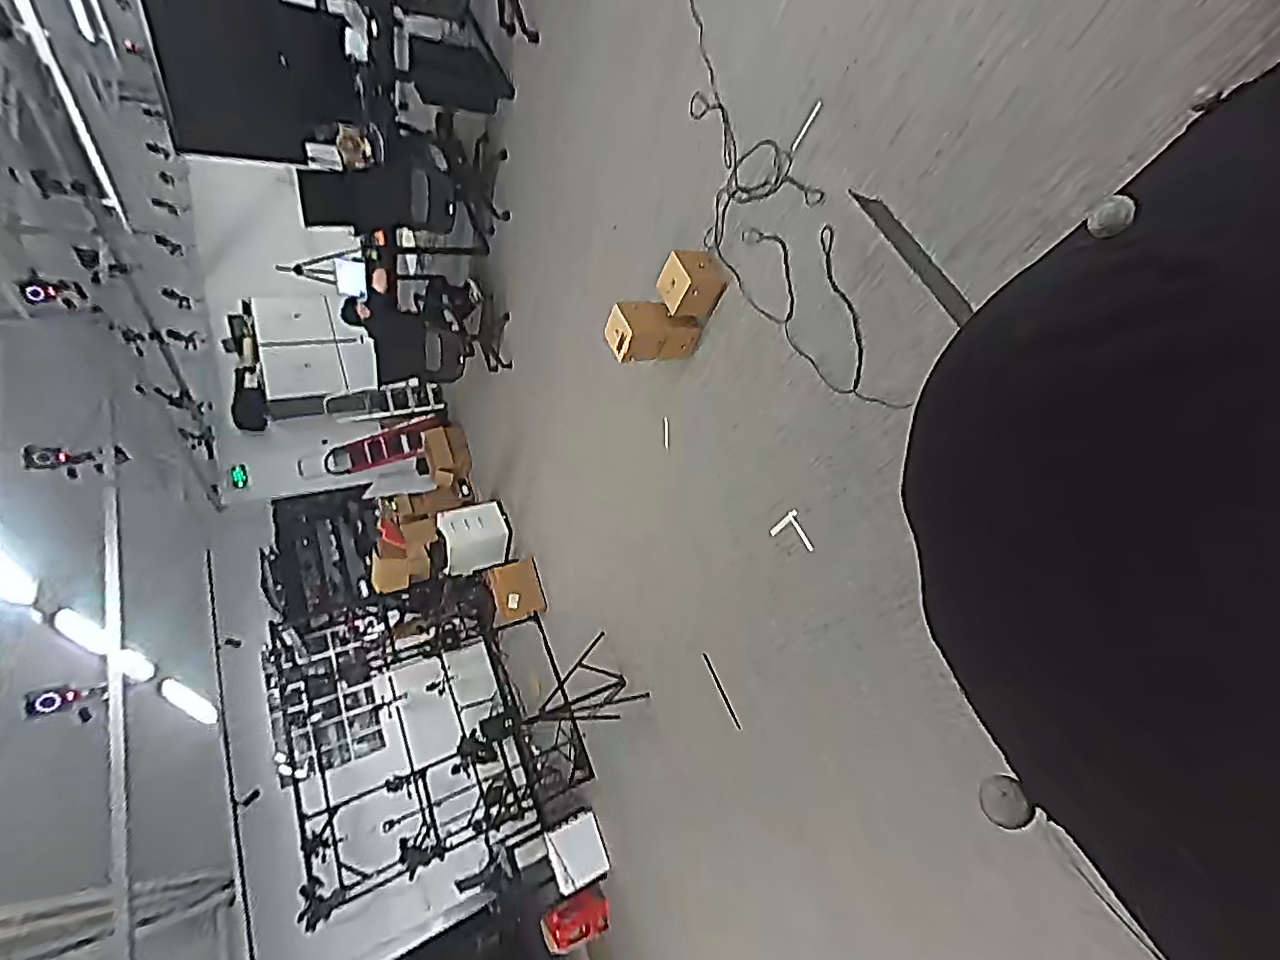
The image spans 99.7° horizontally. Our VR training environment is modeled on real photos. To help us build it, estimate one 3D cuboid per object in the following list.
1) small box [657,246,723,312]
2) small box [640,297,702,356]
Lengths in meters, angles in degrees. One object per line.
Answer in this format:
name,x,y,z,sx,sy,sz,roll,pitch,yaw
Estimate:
small box,0.195,-0.769,2.063,0.168,0.176,0.179,66,150,20
small box,0.128,-0.637,2.244,0.179,0.176,0.168,60,147,27
